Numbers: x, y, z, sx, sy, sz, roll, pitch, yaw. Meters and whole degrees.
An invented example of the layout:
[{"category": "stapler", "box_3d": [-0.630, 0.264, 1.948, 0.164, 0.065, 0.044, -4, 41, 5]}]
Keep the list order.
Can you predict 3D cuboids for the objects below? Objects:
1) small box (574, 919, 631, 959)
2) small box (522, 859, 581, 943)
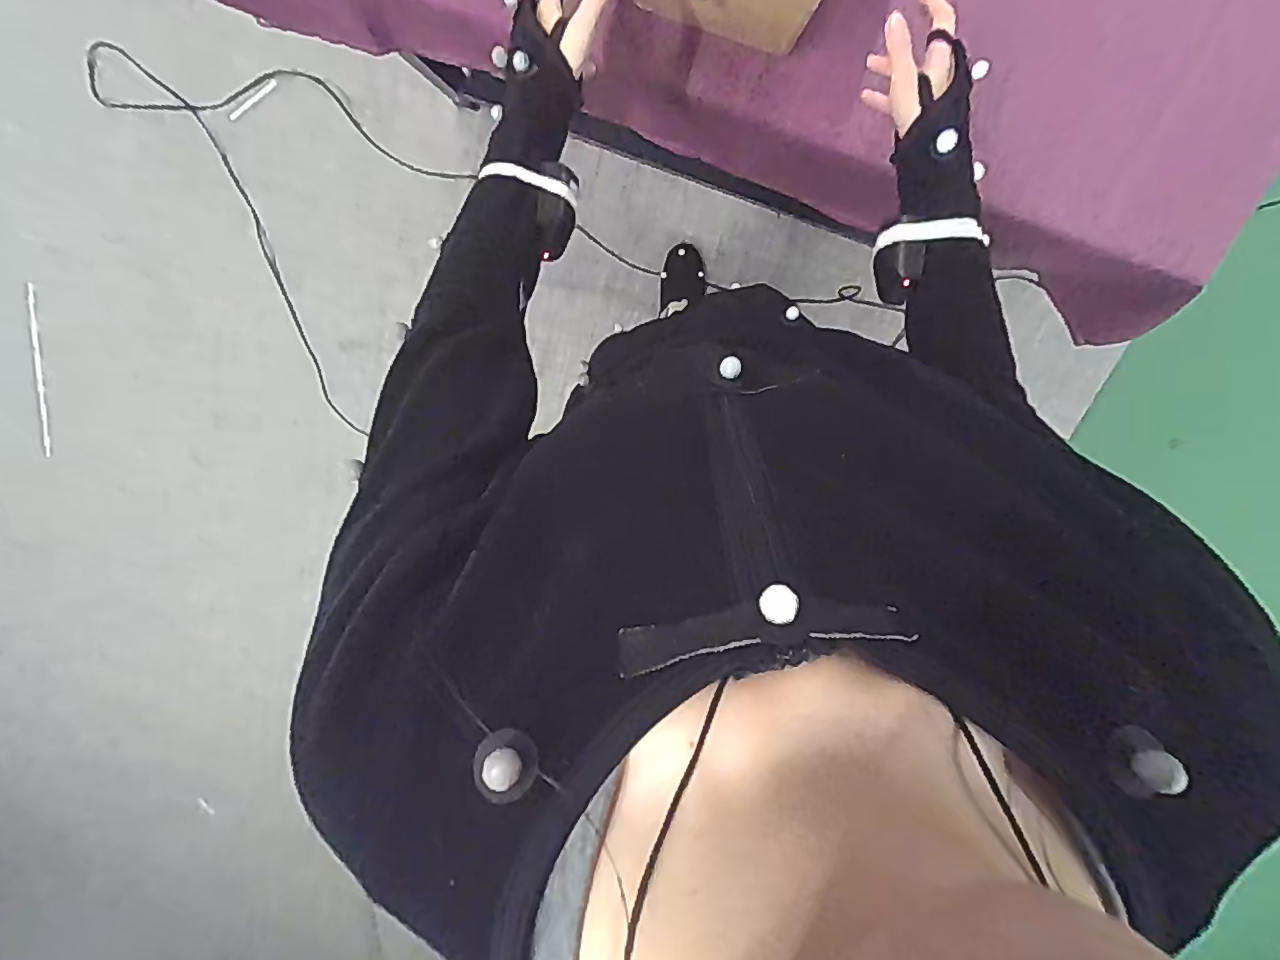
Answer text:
[{"category": "small box", "box_3d": [-0.135, 1.678, 1.881, 0.179, 0.176, 0.168, 14, 110, -4]}, {"category": "small box", "box_3d": [-0.326, 1.570, 2.021, 0.168, 0.176, 0.179, 18, 109, -7]}]
